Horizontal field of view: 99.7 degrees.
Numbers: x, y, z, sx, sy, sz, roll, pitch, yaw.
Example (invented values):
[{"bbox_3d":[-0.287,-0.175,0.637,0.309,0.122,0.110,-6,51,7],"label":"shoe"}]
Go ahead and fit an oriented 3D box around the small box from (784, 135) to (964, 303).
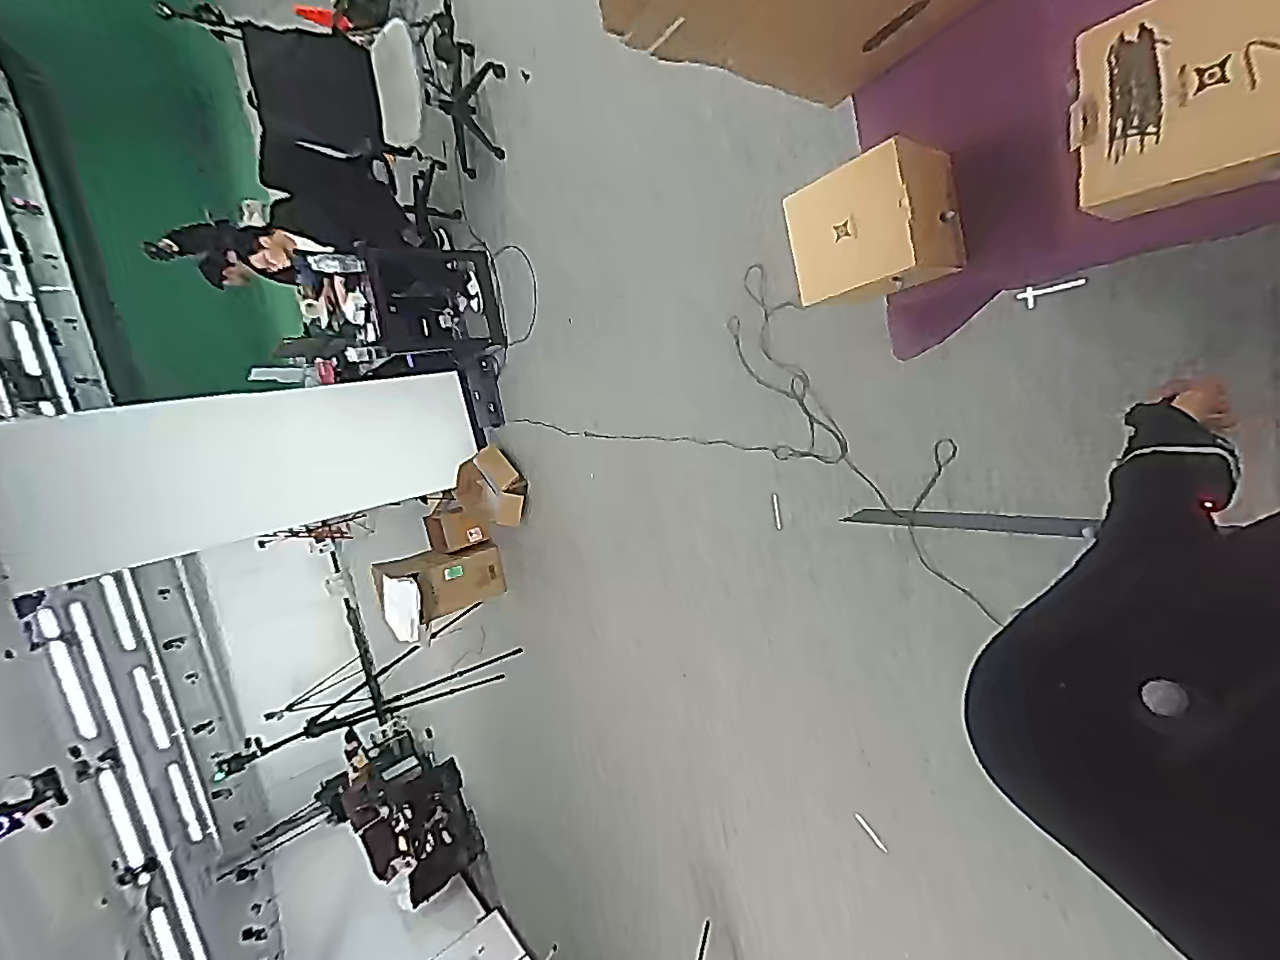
[{"bbox_3d":[0.347,-0.370,0.804,0.179,0.176,0.168,-7,98,51],"label":"small box"}]
